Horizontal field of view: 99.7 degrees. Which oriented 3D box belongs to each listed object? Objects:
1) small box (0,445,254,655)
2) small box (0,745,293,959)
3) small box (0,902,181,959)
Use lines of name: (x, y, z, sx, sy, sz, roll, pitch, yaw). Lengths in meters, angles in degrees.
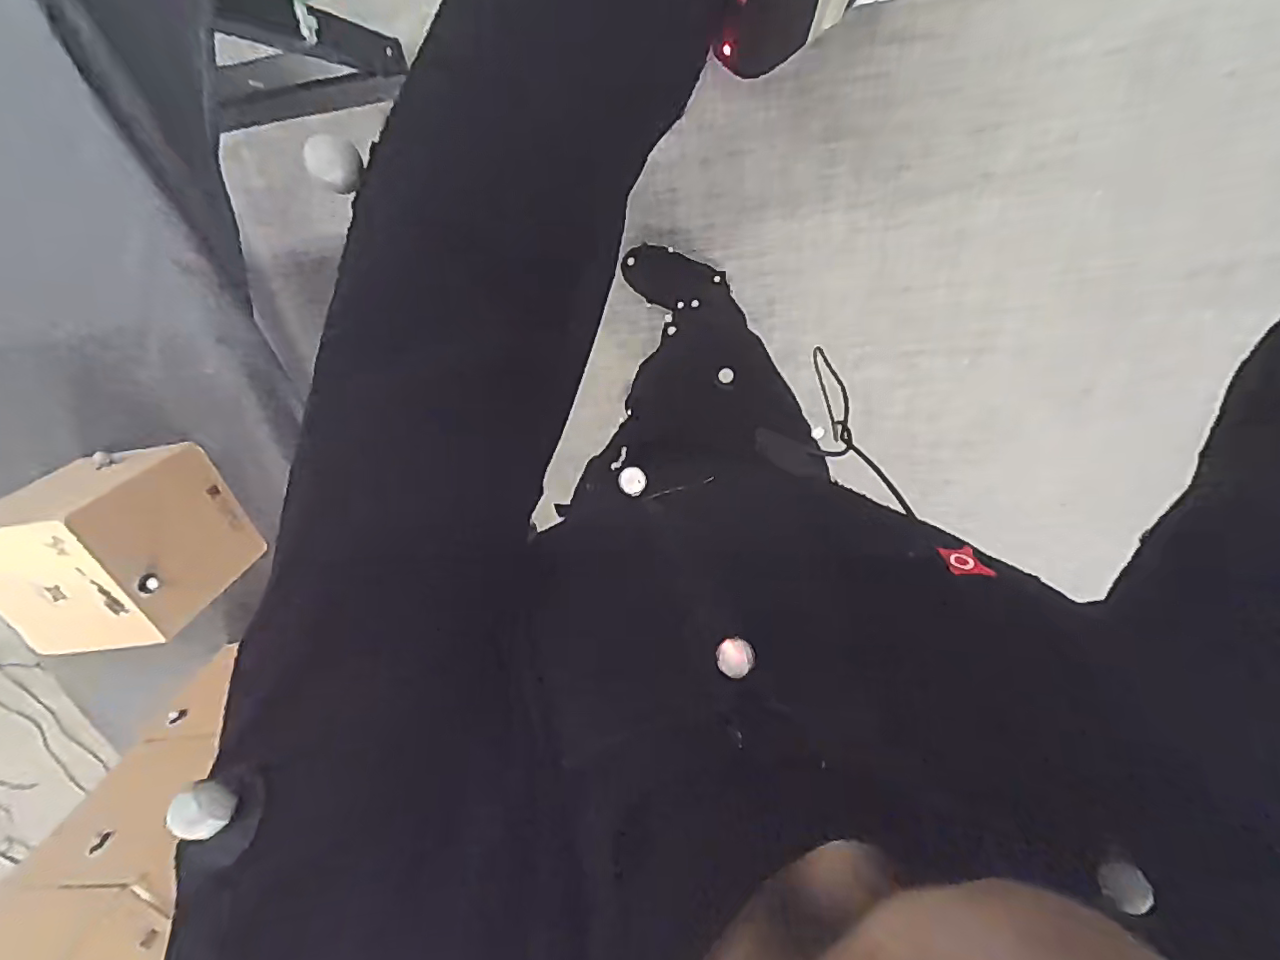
small box: (-0.602, 0.075, 0.615, 0.179, 0.176, 0.168, -7, 119, 10)
small box: (-0.552, 0.434, 0.634, 0.179, 0.176, 0.168, -9, 118, 12)
small box: (-0.567, 0.517, 0.492, 0.179, 0.176, 0.168, -10, 118, 12)
